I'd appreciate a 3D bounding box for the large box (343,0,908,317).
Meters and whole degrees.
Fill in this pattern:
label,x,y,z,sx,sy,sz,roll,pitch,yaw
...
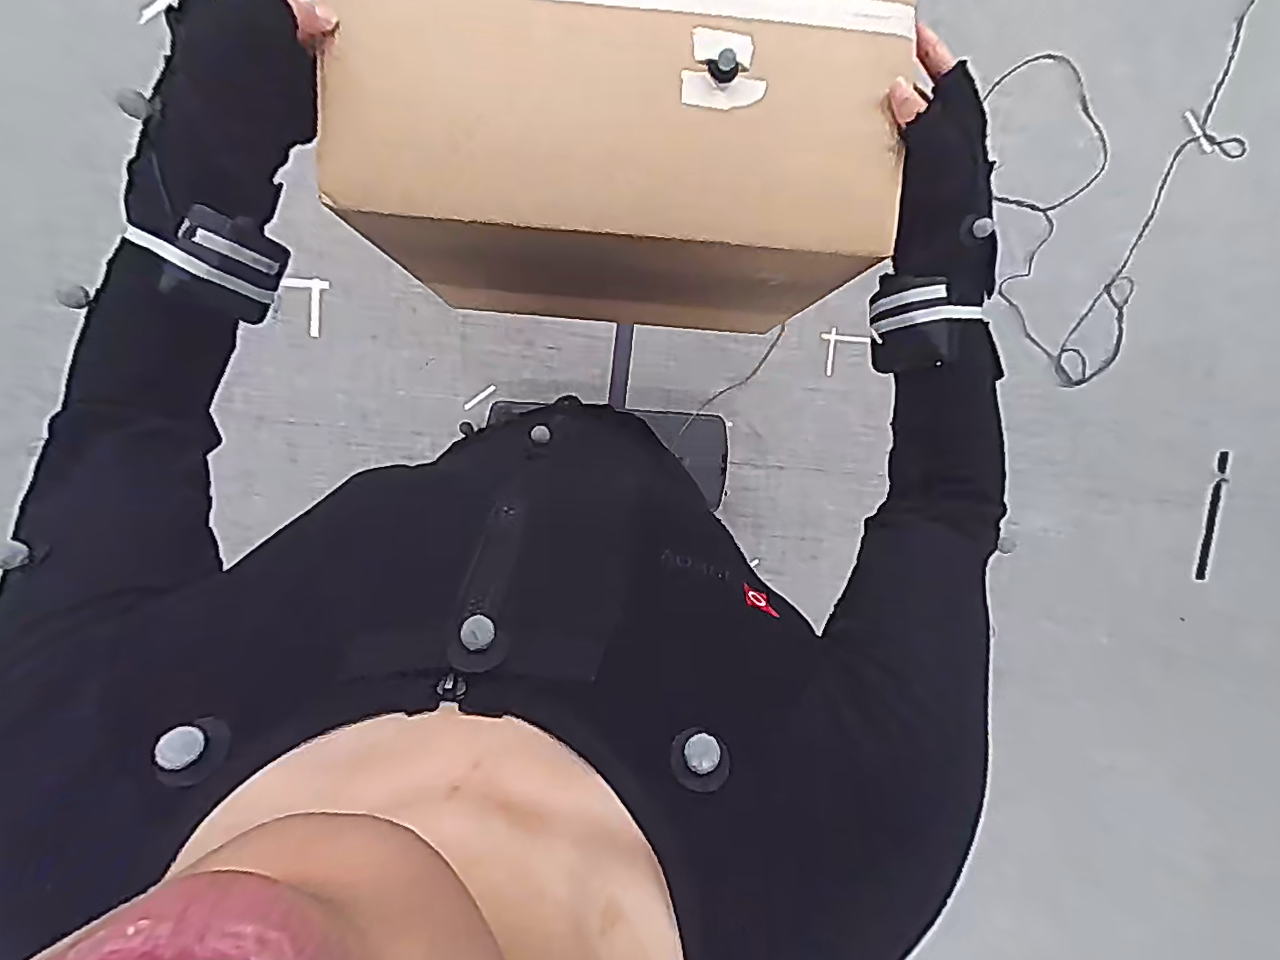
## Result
label,x,y,z,sx,sy,sz,roll,pitch,yaw
large box,-0.016,-0.354,0.528,0.408,0.320,0.320,3,96,-5
